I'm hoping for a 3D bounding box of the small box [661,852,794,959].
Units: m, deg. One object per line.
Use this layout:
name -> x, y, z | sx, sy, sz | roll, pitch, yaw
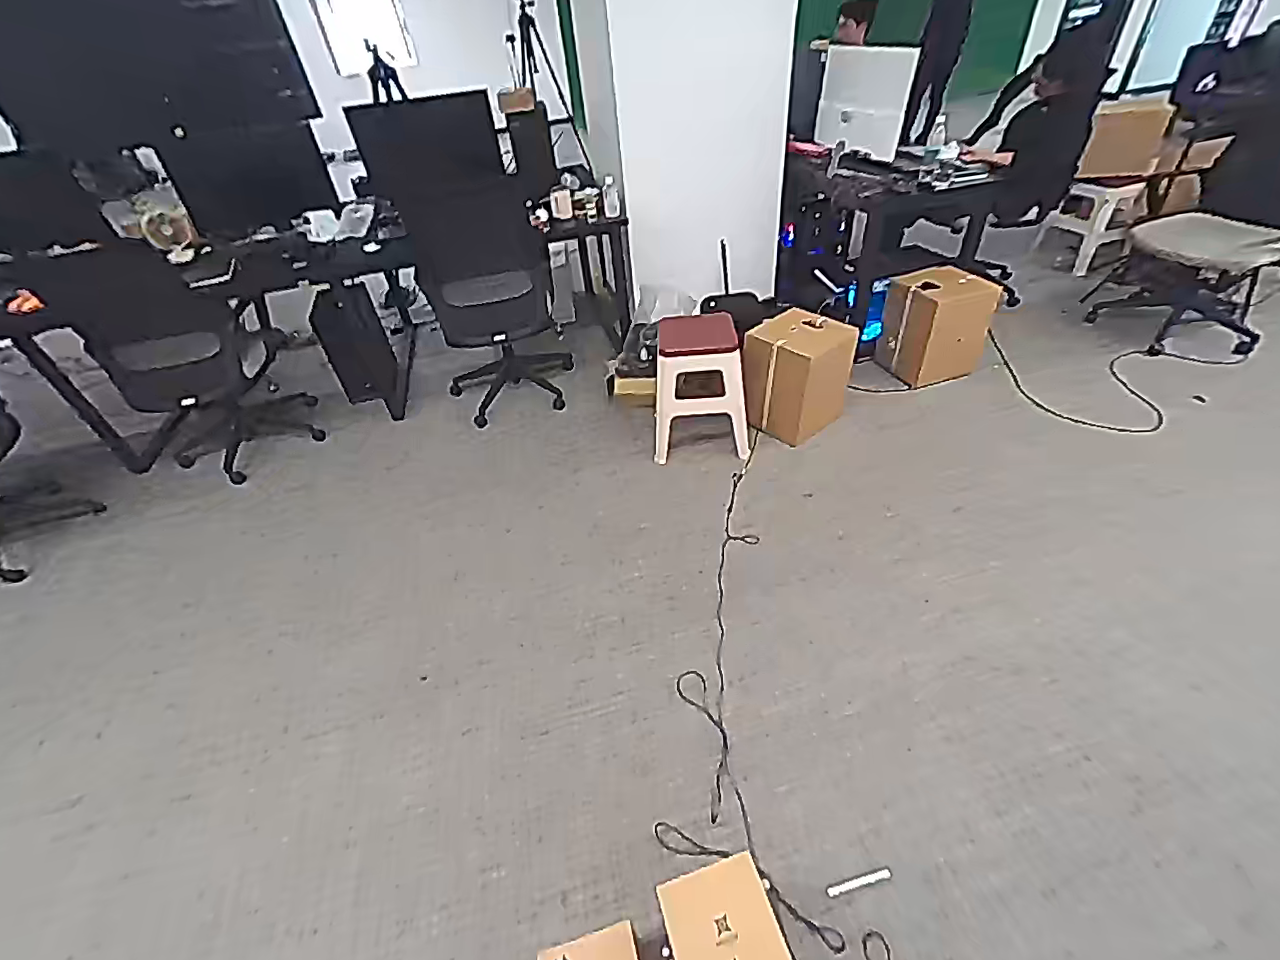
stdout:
small box -> 0.138, 0.742, 0.863 | 0.168, 0.176, 0.179 | -15, 42, -9
